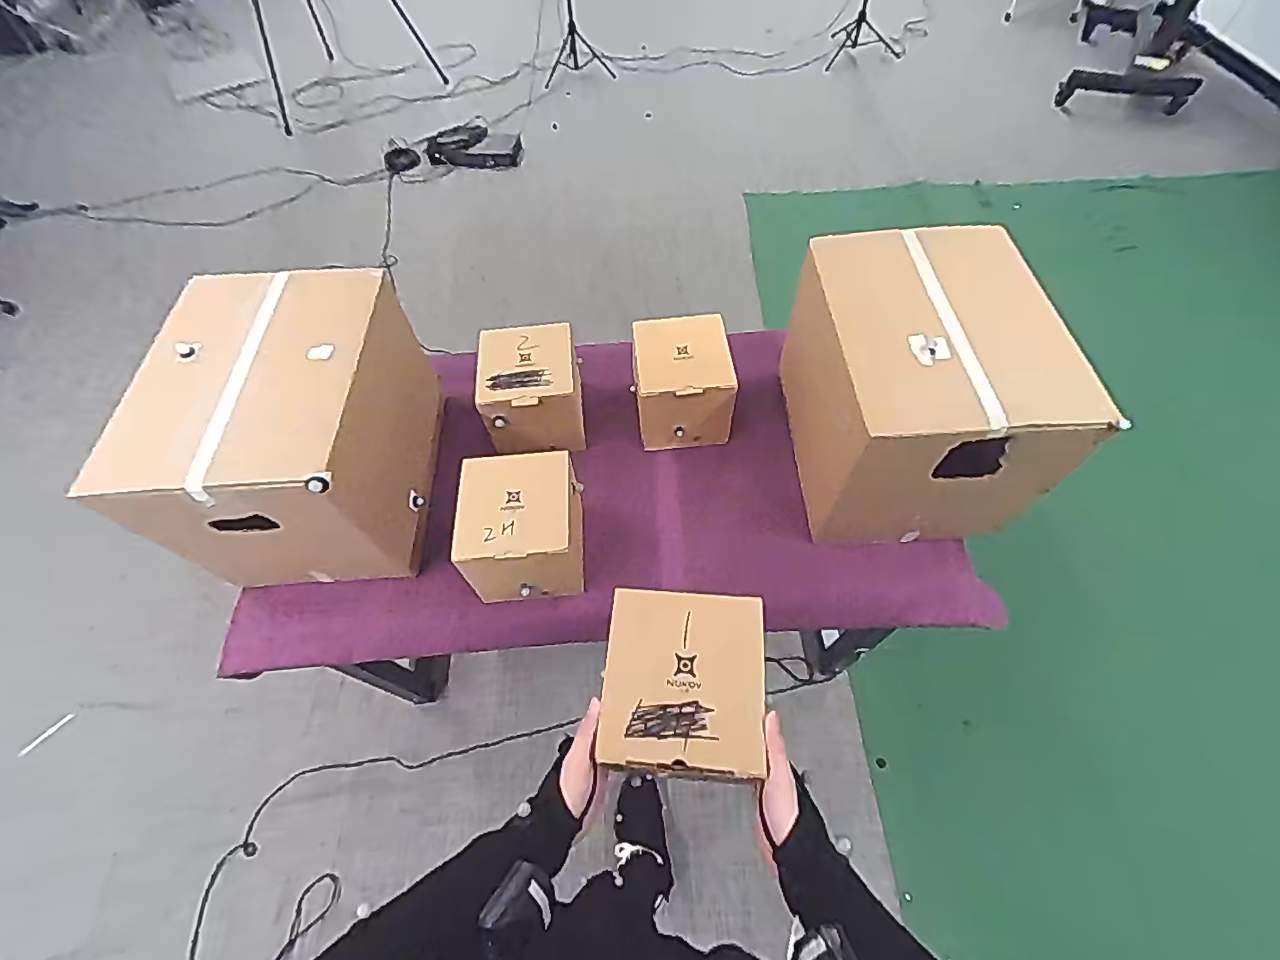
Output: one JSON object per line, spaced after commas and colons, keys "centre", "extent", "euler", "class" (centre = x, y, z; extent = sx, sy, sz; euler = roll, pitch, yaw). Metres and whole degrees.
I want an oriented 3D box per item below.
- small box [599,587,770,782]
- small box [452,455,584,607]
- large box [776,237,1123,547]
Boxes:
{"centre": [0.054, 0.238, 0.619], "extent": [0.168, 0.176, 0.179], "euler": [2, 58, 5], "class": "small box"}
{"centre": [-0.181, 0.083, 0.853], "extent": [0.168, 0.176, 0.179], "euler": [-6, 57, -1], "class": "small box"}
{"centre": [0.436, -0.137, 0.892], "extent": [0.320, 0.320, 0.408], "euler": [-3, 58, 1], "class": "large box"}
